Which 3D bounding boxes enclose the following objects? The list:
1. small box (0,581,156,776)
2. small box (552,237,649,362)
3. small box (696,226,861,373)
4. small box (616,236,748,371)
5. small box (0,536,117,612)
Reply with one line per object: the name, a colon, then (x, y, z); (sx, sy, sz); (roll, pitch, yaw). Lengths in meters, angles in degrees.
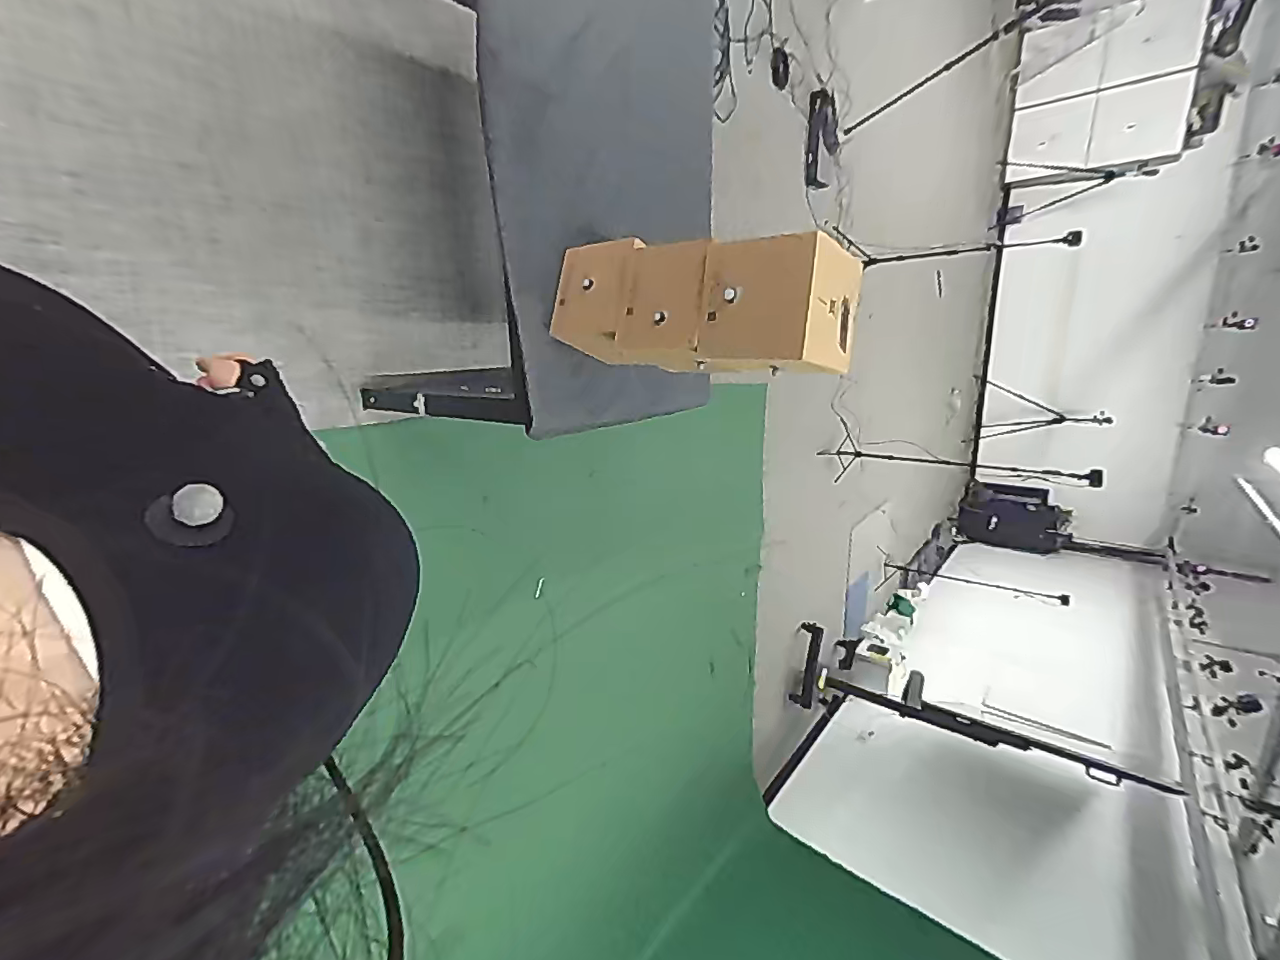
small box: (-0.857, 0.271, 0.774); (0.168, 0.176, 0.179); (-46, 130, -35)
small box: (-0.038, -0.319, 1.003); (0.179, 0.176, 0.168); (14, 87, -53)
small box: (0.204, -0.251, 0.794); (0.179, 0.176, 0.168); (-4, 101, -51)
small box: (0.081, -0.280, 0.899); (0.179, 0.176, 0.168); (5, 94, -53)
small box: (-1.114, 0.214, 0.972); (0.179, 0.176, 0.168); (50, 59, -43)
